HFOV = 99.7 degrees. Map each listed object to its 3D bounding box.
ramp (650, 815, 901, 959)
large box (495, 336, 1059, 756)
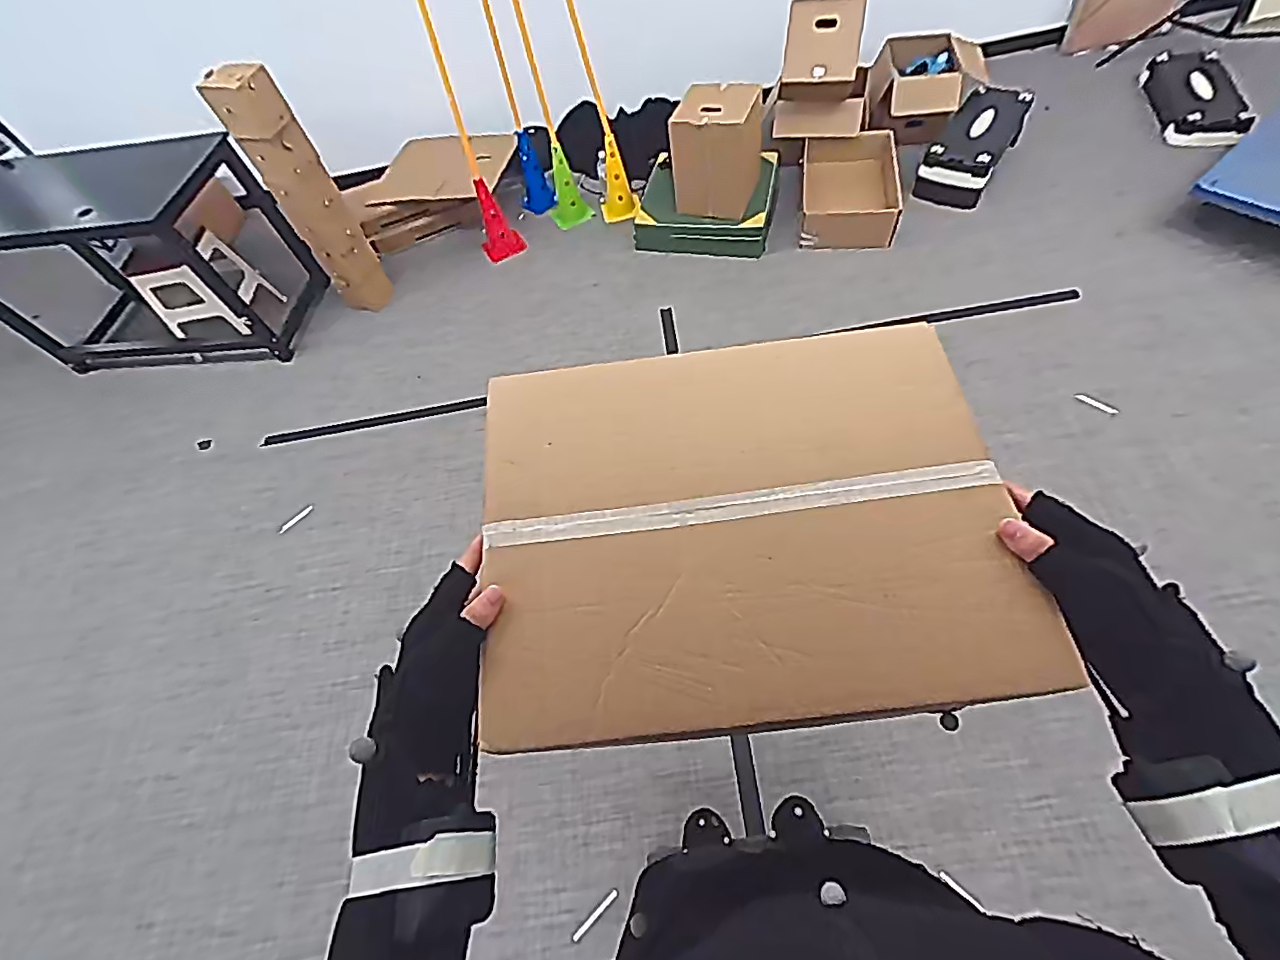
[{"bbox_3d":[0.327,1.238,1.030,0.509,0.206,0.991,-10,58,2],"label":"ramp"},{"bbox_3d":[0.091,0.093,0.572,0.408,0.320,0.320,-8,63,2],"label":"large box"}]
